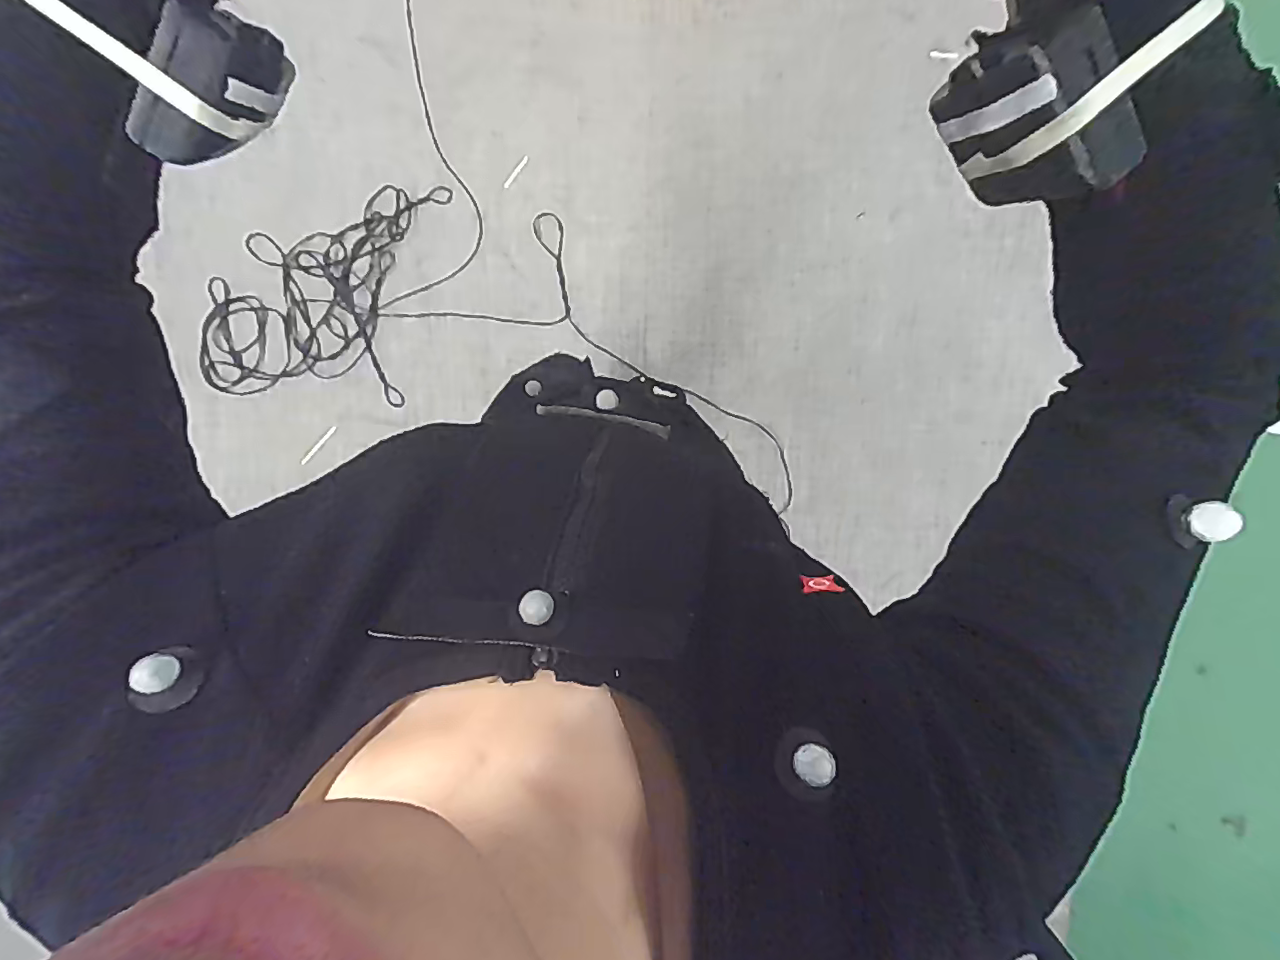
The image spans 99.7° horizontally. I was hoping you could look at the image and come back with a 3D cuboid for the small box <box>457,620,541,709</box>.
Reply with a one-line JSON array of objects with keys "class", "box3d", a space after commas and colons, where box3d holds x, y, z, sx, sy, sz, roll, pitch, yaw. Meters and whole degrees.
[{"class": "small box", "box3d": [-0.378, 0.493, 1.468, 0.179, 0.176, 0.168, 6, 99, -1]}]
